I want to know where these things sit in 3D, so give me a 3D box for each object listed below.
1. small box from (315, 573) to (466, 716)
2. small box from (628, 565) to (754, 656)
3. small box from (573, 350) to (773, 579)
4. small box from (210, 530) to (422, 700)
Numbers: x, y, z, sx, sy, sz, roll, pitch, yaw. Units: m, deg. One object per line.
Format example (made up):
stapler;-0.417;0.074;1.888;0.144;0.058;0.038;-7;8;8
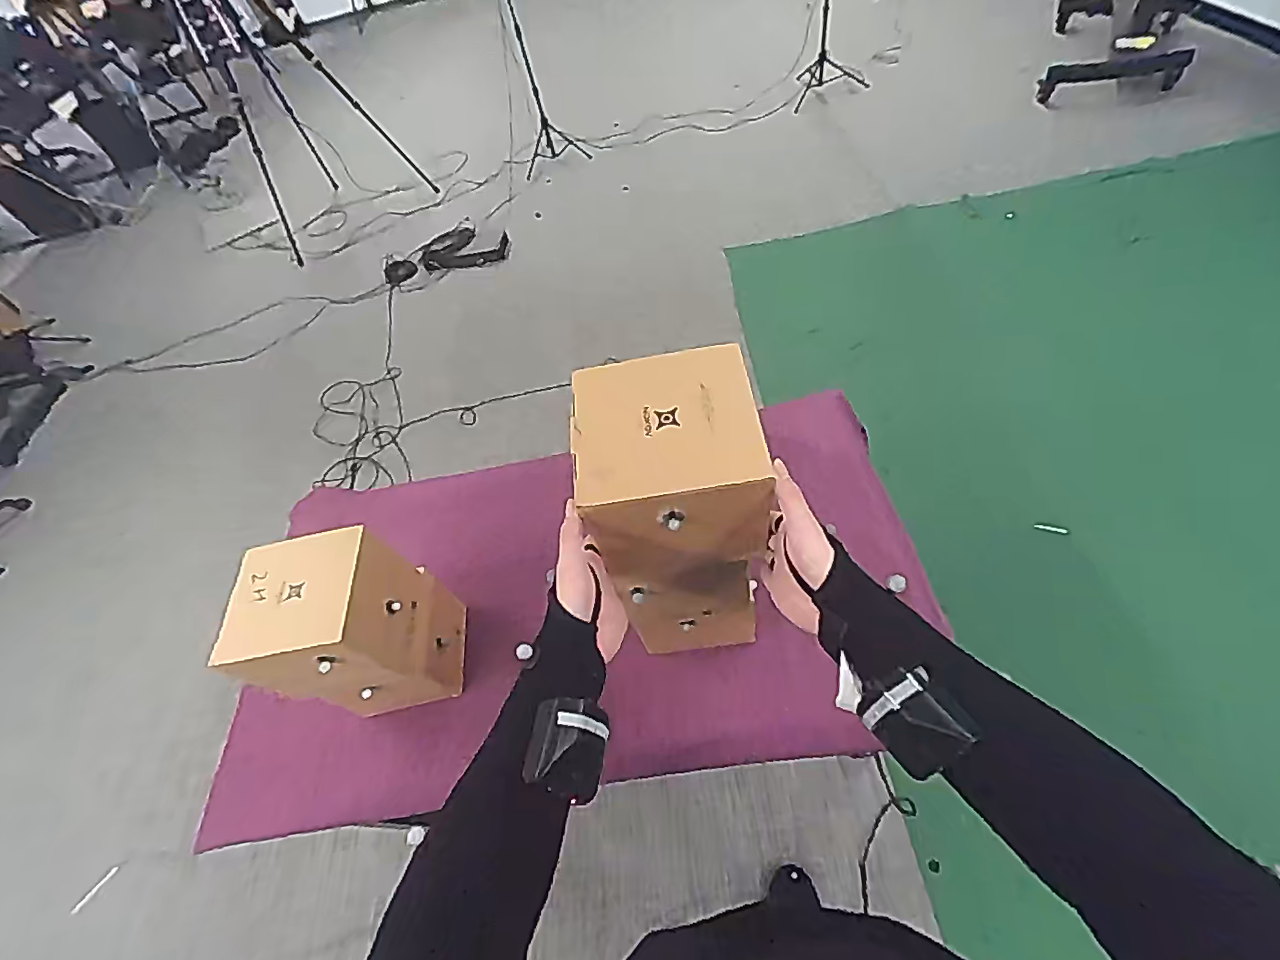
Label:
small box;-0.405;0.276;0.896;0.179;0.176;0.168;-13;54;4
small box;0.081;0.170;0.863;0.179;0.176;0.168;-9;54;5
small box;0.035;-0.007;0.570;0.179;0.176;0.168;-8;57;4
small box;-0.429;0.194;0.754;0.179;0.176;0.168;-12;53;4
